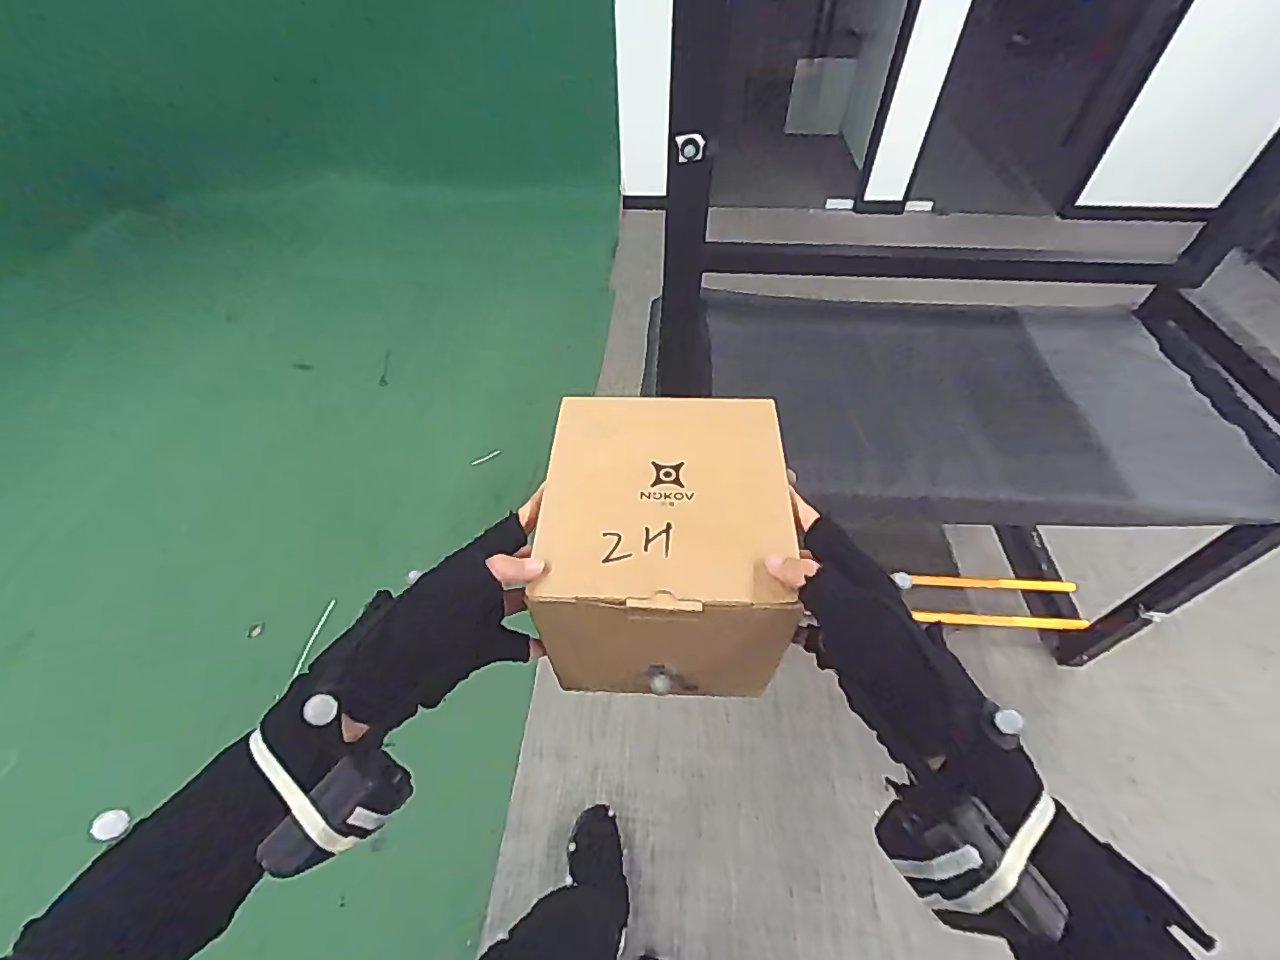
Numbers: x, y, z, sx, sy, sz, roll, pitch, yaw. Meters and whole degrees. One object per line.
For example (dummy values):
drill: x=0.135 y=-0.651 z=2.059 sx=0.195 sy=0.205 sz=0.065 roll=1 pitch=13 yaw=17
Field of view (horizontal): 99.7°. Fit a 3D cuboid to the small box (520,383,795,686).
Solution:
small box: x=0.016 y=0.043 z=0.430 sx=0.168 sy=0.176 sz=0.179 roll=1 pitch=50 yaw=3
